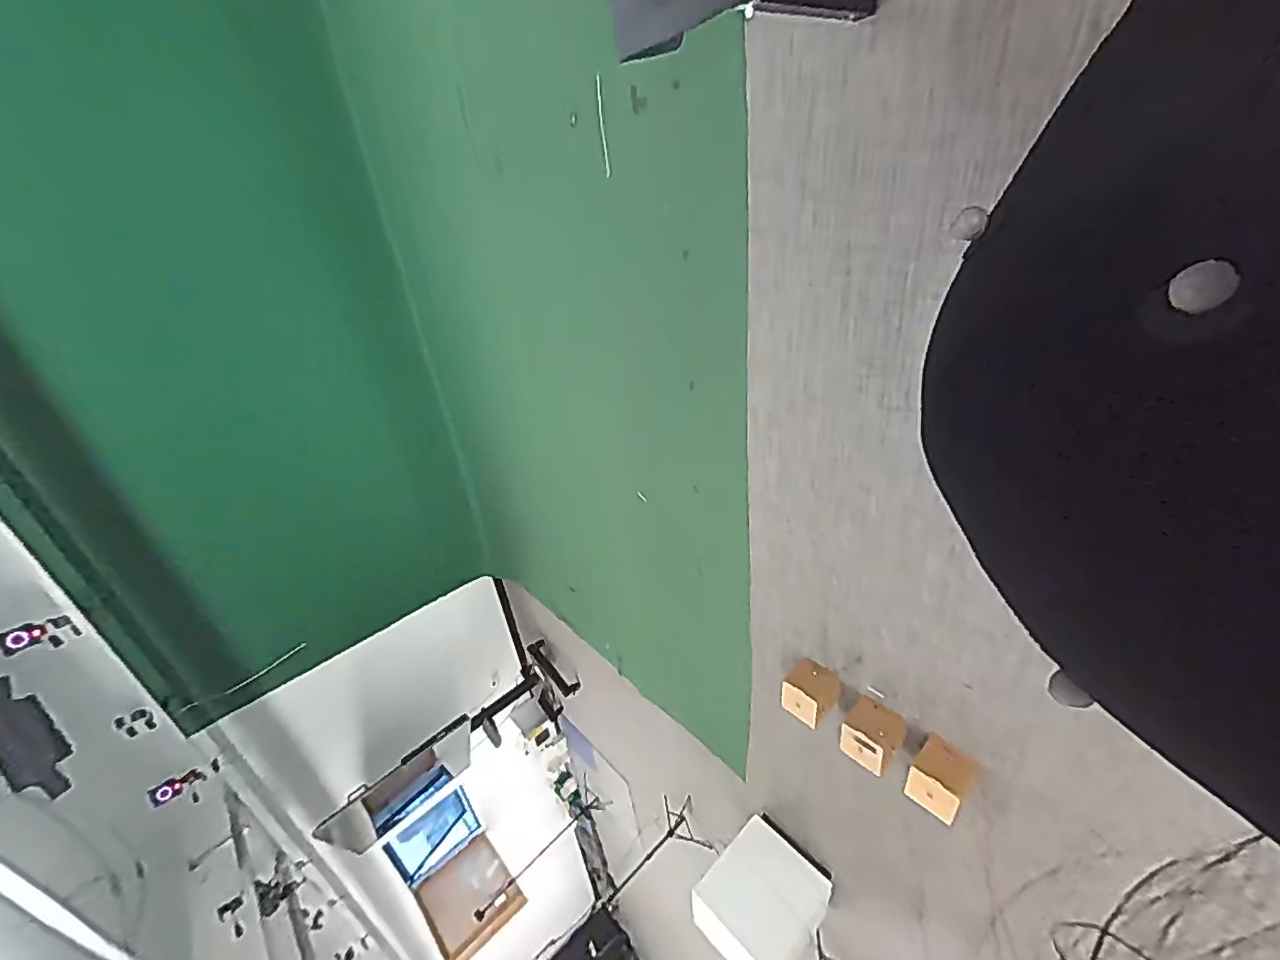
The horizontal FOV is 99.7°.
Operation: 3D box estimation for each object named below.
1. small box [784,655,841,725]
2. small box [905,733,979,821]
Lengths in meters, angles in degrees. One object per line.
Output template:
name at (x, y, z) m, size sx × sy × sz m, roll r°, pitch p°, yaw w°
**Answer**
small box at (0.732, 0.886, 2.292) m, size 0.168 × 0.176 × 0.179 m, roll 26°, pitch 133°, yaw 42°
small box at (1.081, 1.056, 1.932) m, size 0.168 × 0.176 × 0.179 m, roll 26°, pitch 132°, yaw 42°
